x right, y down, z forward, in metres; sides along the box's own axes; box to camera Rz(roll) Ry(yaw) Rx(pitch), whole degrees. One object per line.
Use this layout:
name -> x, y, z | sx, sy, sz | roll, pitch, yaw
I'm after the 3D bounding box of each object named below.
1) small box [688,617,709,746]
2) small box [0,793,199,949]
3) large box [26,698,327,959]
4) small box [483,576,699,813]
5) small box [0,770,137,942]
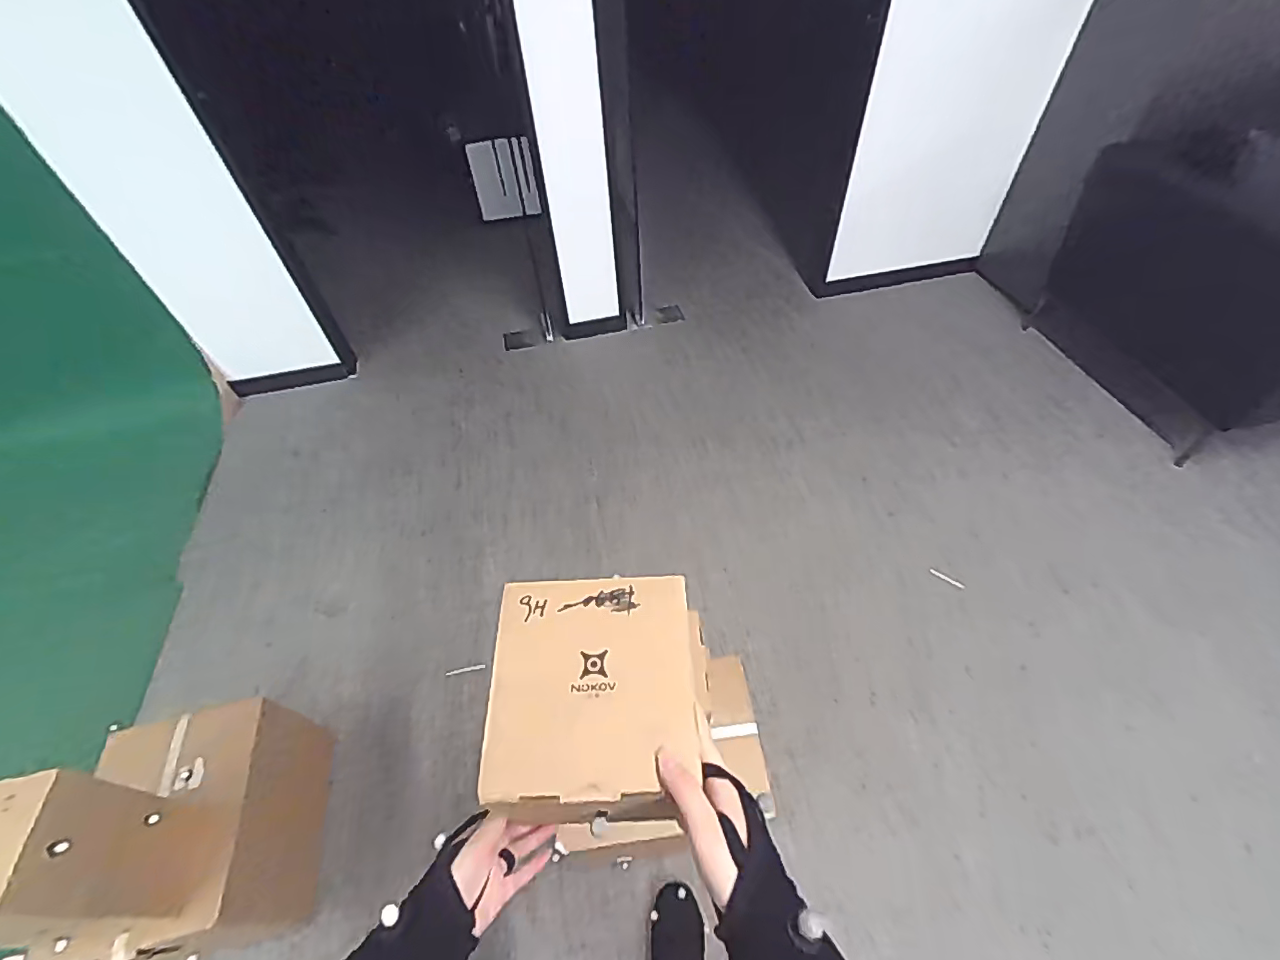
small box -> 0.014, 0.343, 0.893 | 0.179, 0.176, 0.168 | -4, 47, 1
small box -> -0.891, 0.650, 0.900 | 0.168, 0.176, 0.179 | -10, 49, -5
large box -> -0.911, 0.746, 1.140 | 0.320, 0.320, 0.408 | -12, 49, -7
small box -> -0.035, 0.209, 0.512 | 0.168, 0.176, 0.179 | -2, 53, 0
small box -> -0.890, 0.543, 0.774 | 0.168, 0.176, 0.179 | -10, 49, -6
